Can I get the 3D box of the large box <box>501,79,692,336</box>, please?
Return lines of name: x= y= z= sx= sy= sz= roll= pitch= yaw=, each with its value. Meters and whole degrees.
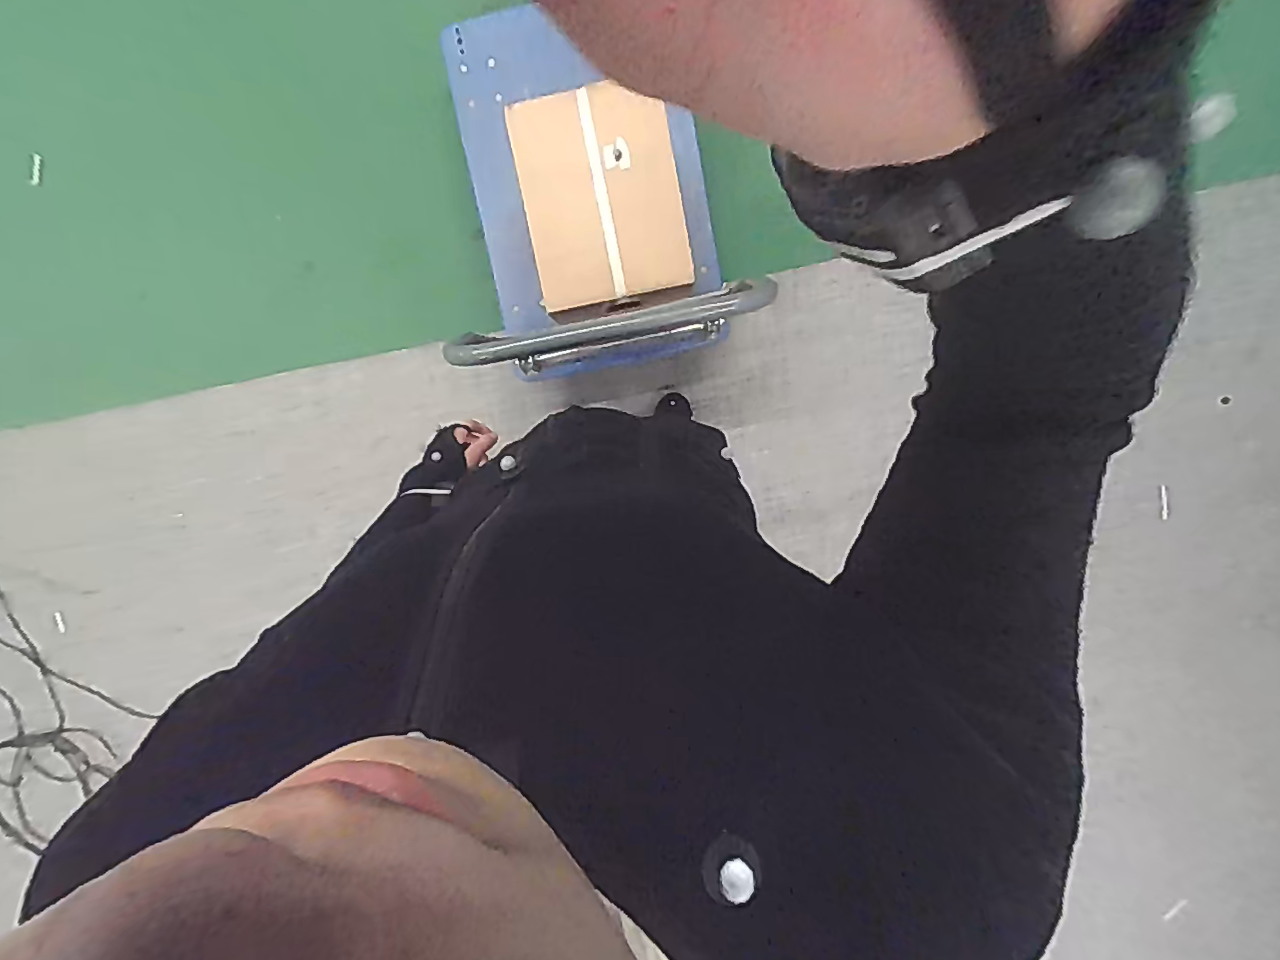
large box: x=-0.082 y=-0.578 z=1.229 sx=0.320 sy=0.320 sz=0.408 roll=-12 pitch=96 yaw=1
